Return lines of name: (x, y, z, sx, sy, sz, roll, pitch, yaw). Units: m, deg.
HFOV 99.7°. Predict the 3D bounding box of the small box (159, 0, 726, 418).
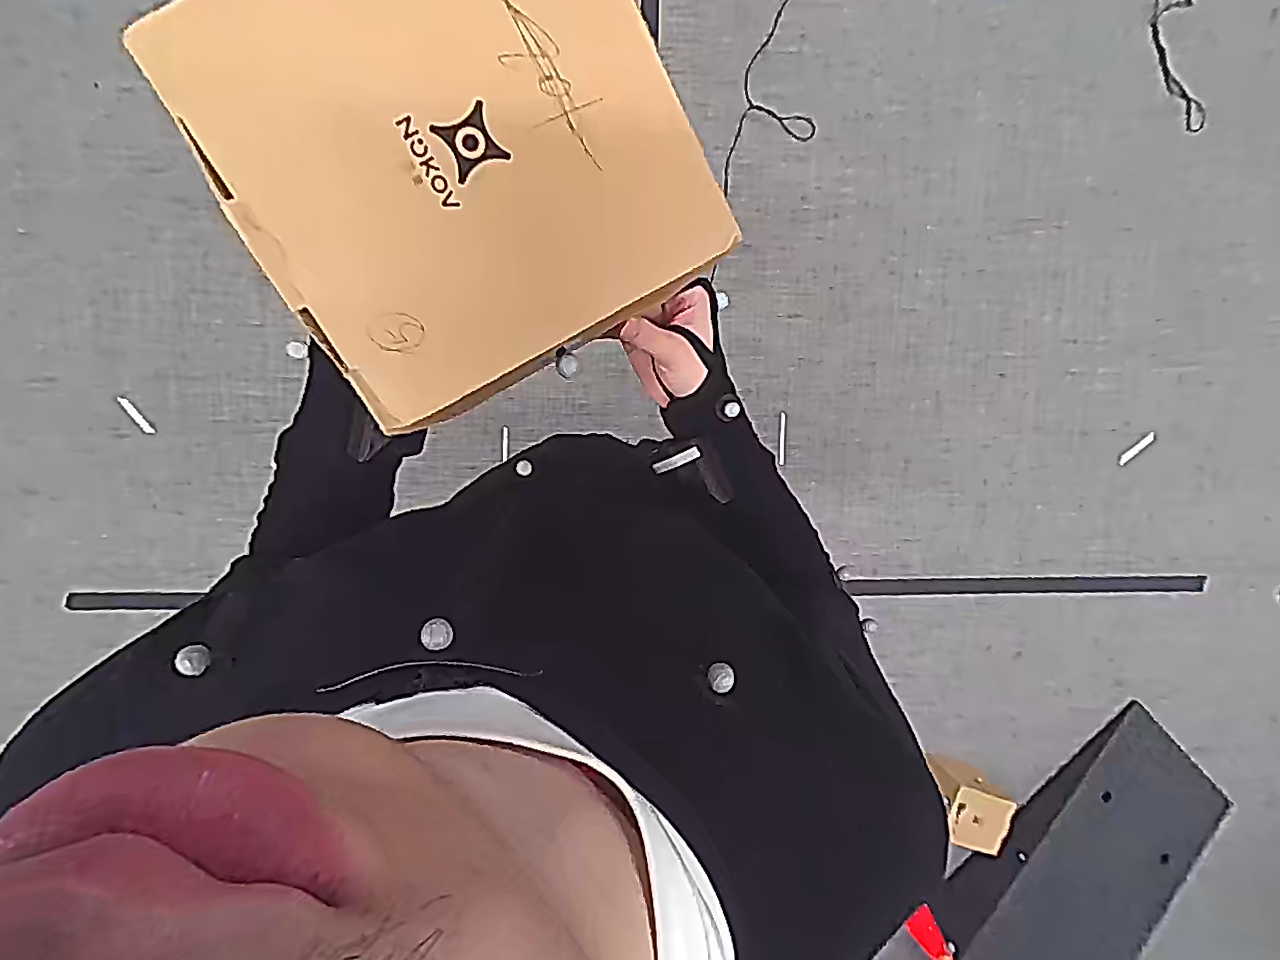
small box: (-0.083, -0.149, 0.302, 0.179, 0.176, 0.168, -30, 104, -3)
